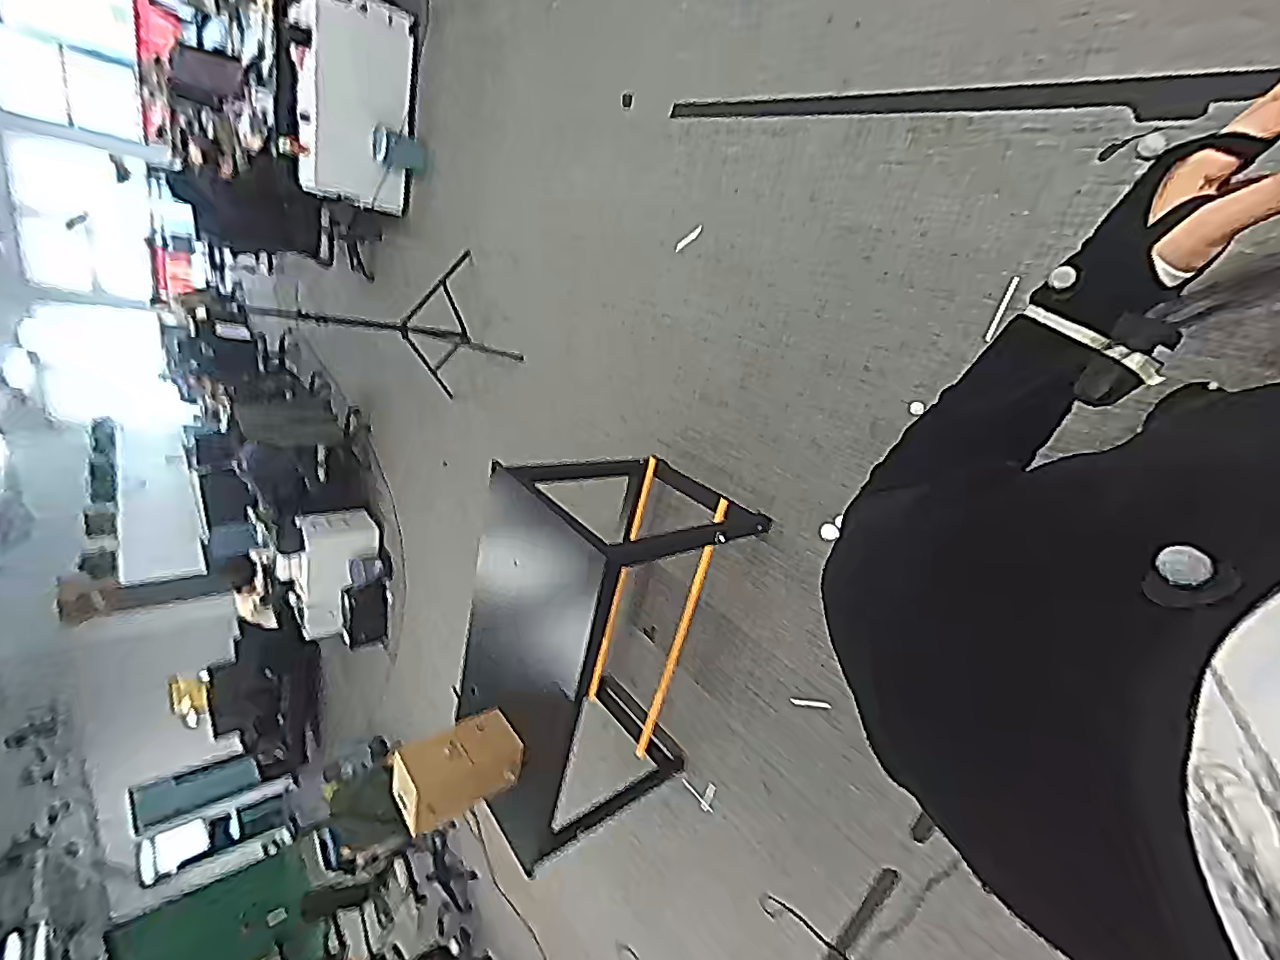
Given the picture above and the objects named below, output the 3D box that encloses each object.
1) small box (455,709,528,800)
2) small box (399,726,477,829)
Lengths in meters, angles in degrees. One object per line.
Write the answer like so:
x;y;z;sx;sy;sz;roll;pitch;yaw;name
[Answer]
-0.481;0.859;1.718;0.179;0.176;0.168;31;118;41;small box
-0.600;0.876;1.606;0.168;0.176;0.179;30;116;43;small box
